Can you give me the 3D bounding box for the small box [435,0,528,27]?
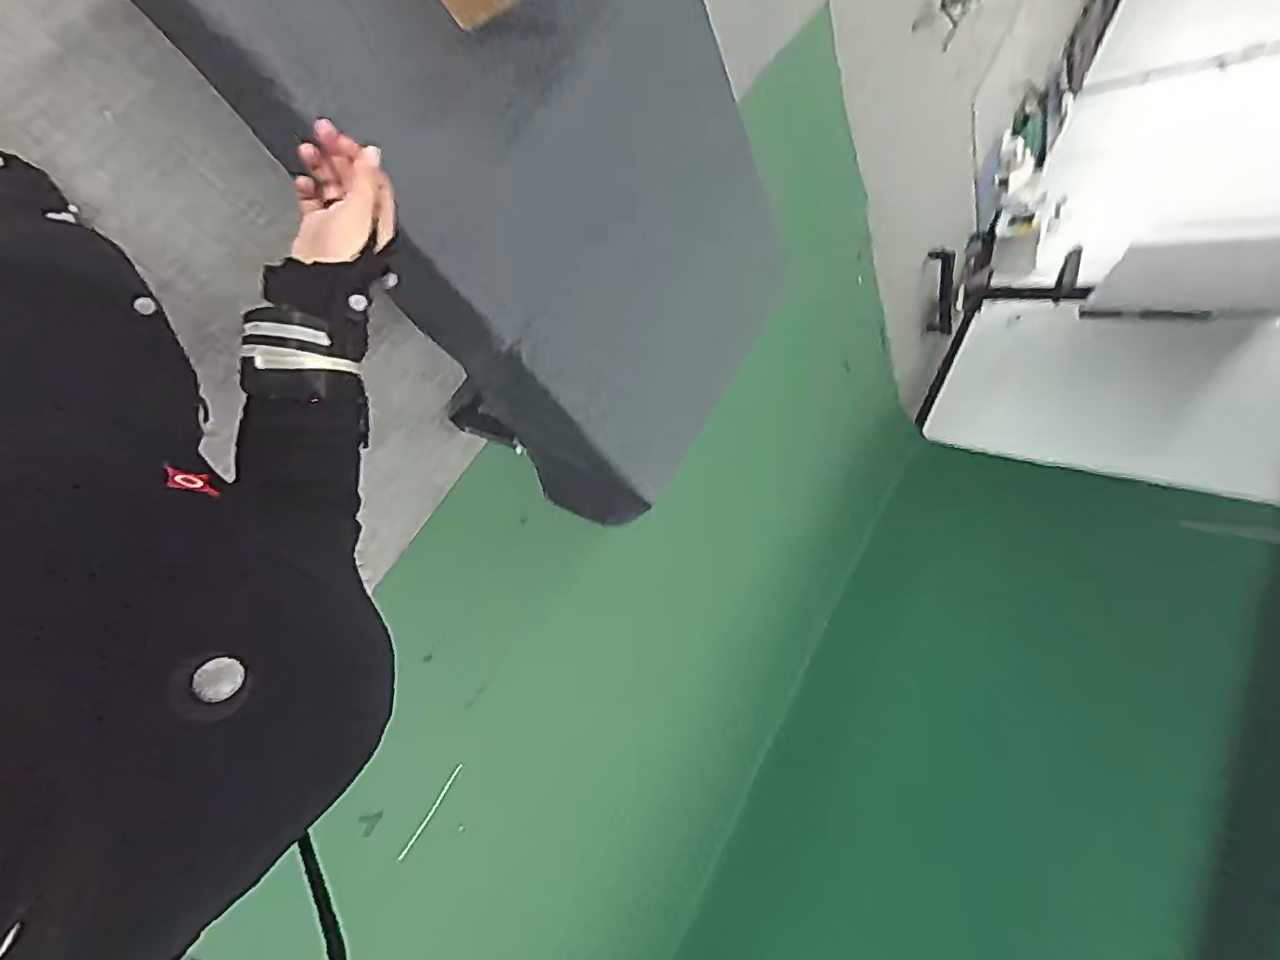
[{"bbox_3d":[-0.142,-0.585,0.506,0.168,0.176,0.179,38,75,-49],"label":"small box"}]
